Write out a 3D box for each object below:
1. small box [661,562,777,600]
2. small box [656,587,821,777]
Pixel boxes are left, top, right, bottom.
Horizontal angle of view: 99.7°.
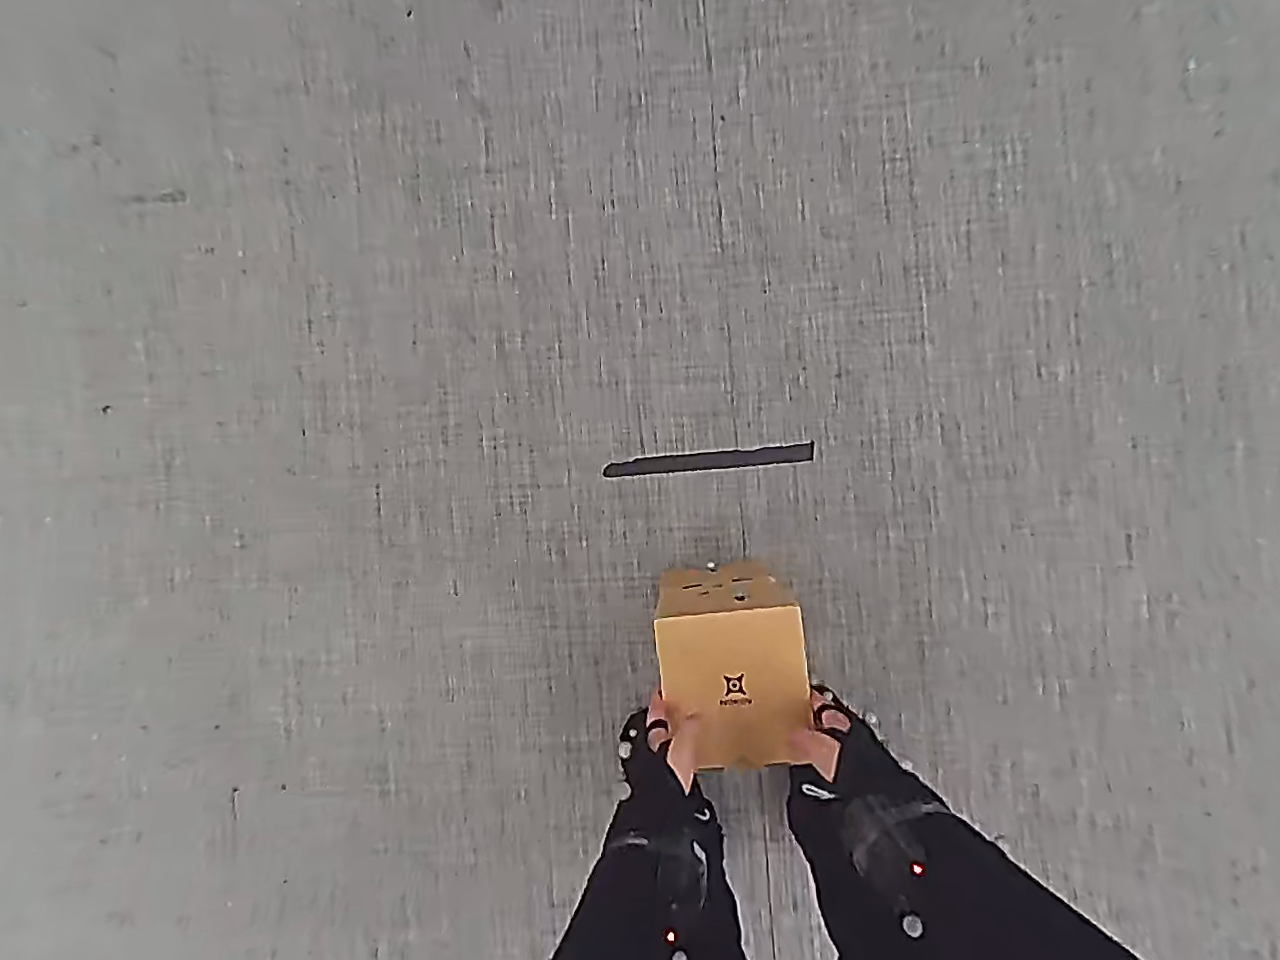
[{"bbox_3d":[0.127,0.234,0.845,0.168,0.176,0.179,-8,88,3],"label":"small box"},{"bbox_3d":[0.112,0.233,0.668,0.168,0.176,0.179,-7,89,5],"label":"small box"}]
